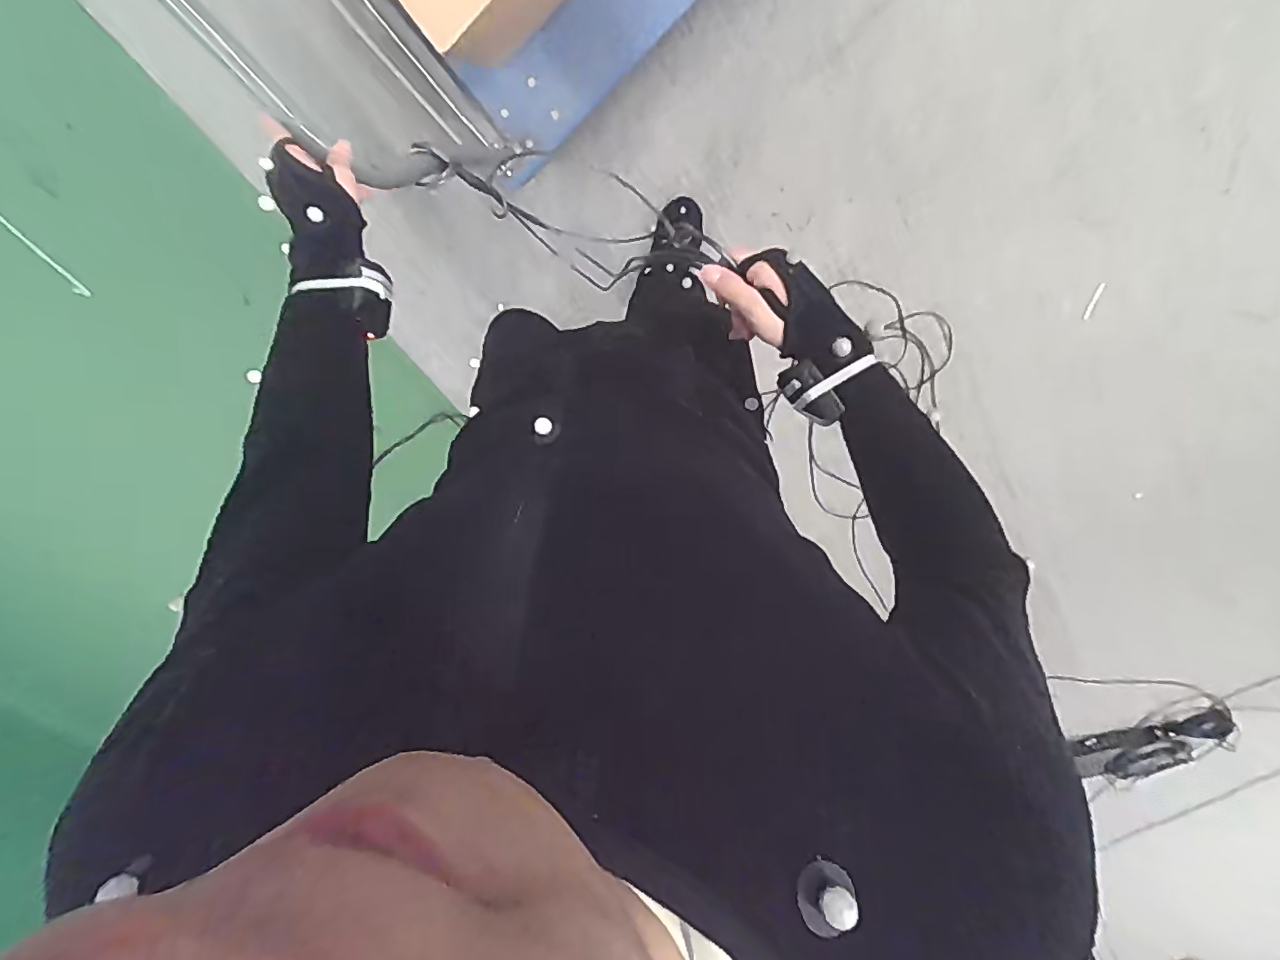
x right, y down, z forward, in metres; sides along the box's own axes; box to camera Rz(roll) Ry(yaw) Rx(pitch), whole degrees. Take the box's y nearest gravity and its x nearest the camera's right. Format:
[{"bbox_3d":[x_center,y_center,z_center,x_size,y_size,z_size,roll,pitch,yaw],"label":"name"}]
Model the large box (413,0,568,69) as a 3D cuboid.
[{"bbox_3d":[-0.214,-0.926,0.808,0.408,0.320,0.320,-30,116,20],"label":"large box"}]
